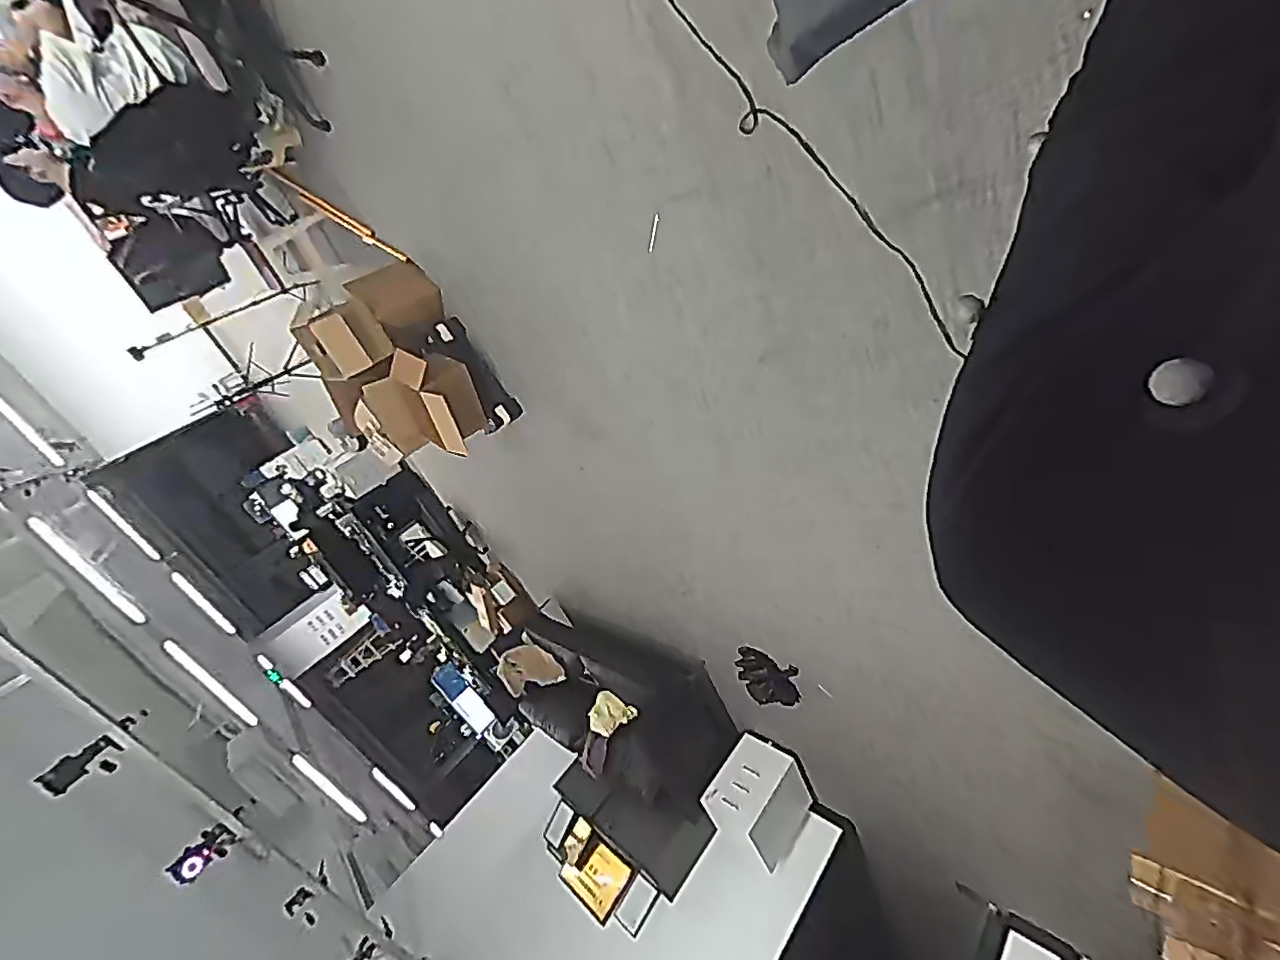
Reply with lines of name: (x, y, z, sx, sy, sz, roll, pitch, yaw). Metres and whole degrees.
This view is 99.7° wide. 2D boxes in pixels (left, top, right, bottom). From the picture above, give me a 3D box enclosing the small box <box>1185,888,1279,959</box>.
small box: (1.611, 1.270, 1.468, 0.168, 0.176, 0.179, 10, 131, 48)
